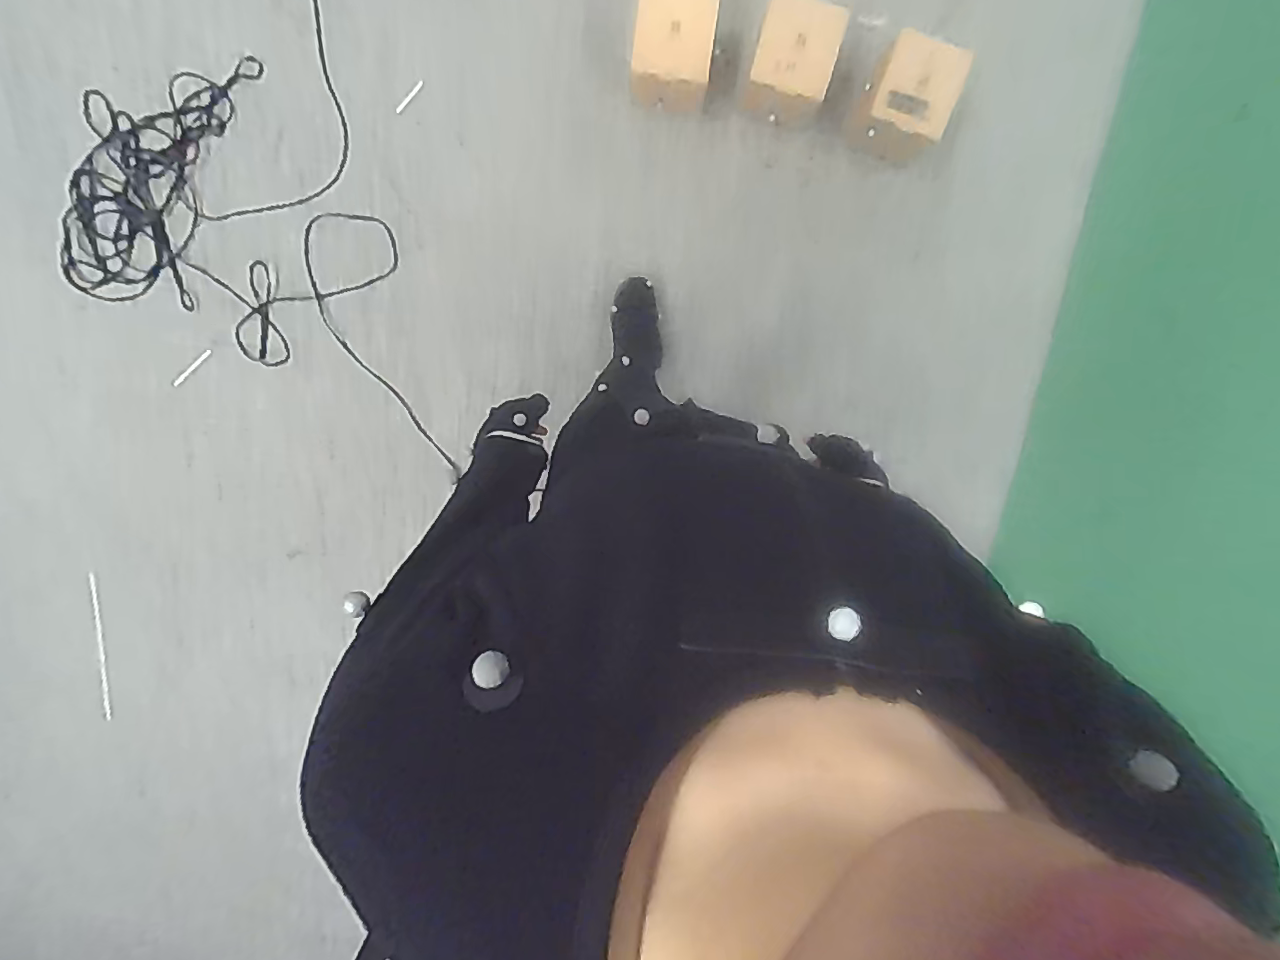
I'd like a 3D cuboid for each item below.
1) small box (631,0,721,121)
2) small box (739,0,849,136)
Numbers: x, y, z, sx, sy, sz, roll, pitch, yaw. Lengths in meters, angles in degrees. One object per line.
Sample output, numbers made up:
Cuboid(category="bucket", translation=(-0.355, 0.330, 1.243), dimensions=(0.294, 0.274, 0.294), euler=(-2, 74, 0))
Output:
Cuboid(category="small box", translation=(0.073, -0.934, 1.192), dimensions=(0.168, 0.176, 0.179), euler=(8, 102, -1))
Cuboid(category="small box", translation=(0.328, -0.907, 1.195), dimensions=(0.168, 0.176, 0.179), euler=(16, 102, -2))
